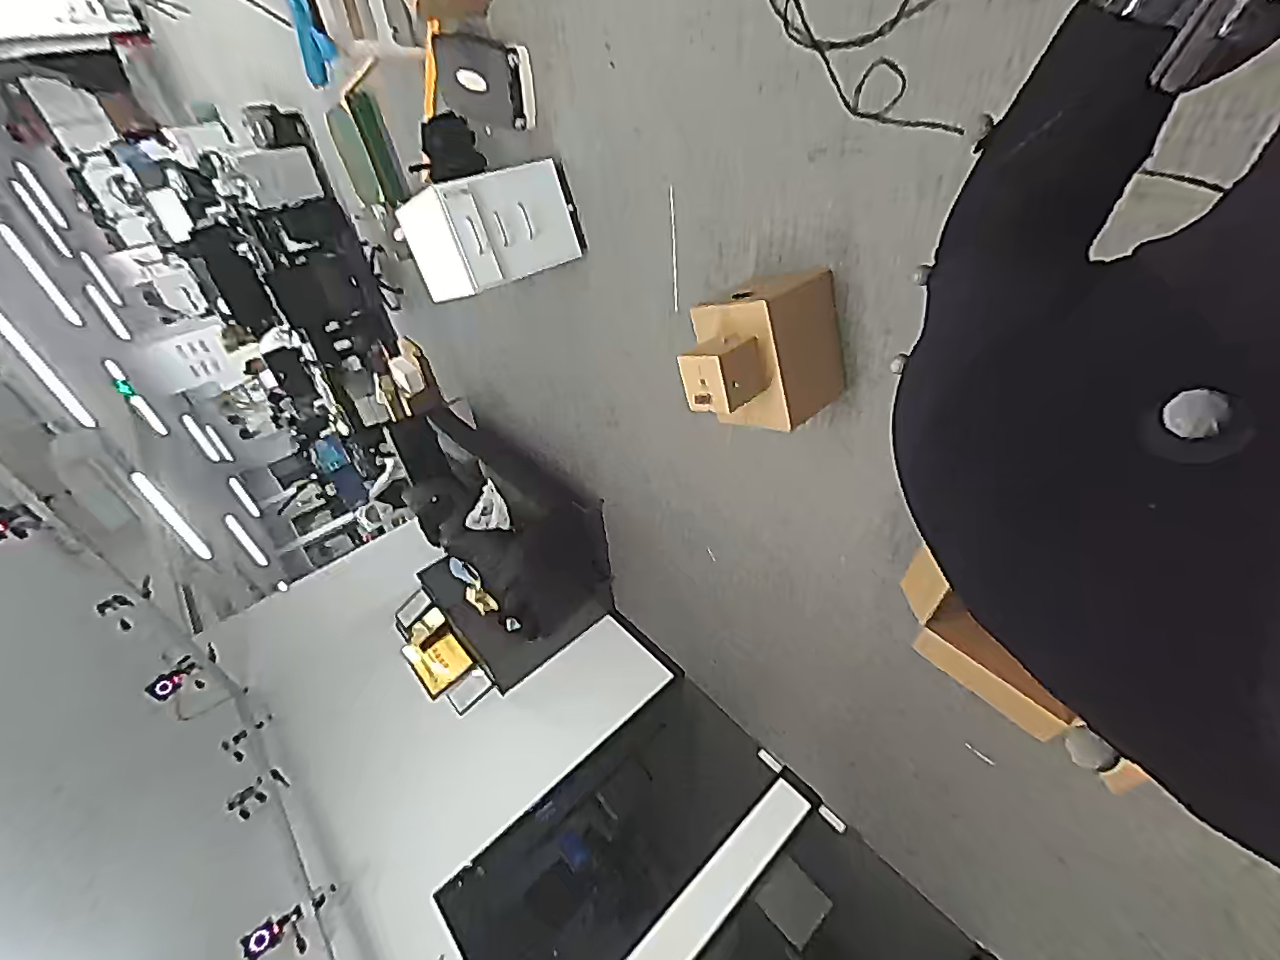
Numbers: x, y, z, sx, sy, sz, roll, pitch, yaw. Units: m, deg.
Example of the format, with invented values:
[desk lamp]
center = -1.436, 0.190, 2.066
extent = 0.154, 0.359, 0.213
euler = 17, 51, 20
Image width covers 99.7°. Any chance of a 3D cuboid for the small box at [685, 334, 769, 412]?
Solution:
[small box]
center = 0.266, -0.323, 1.614
extent = 0.168, 0.176, 0.179
euler = 16, 131, 50
